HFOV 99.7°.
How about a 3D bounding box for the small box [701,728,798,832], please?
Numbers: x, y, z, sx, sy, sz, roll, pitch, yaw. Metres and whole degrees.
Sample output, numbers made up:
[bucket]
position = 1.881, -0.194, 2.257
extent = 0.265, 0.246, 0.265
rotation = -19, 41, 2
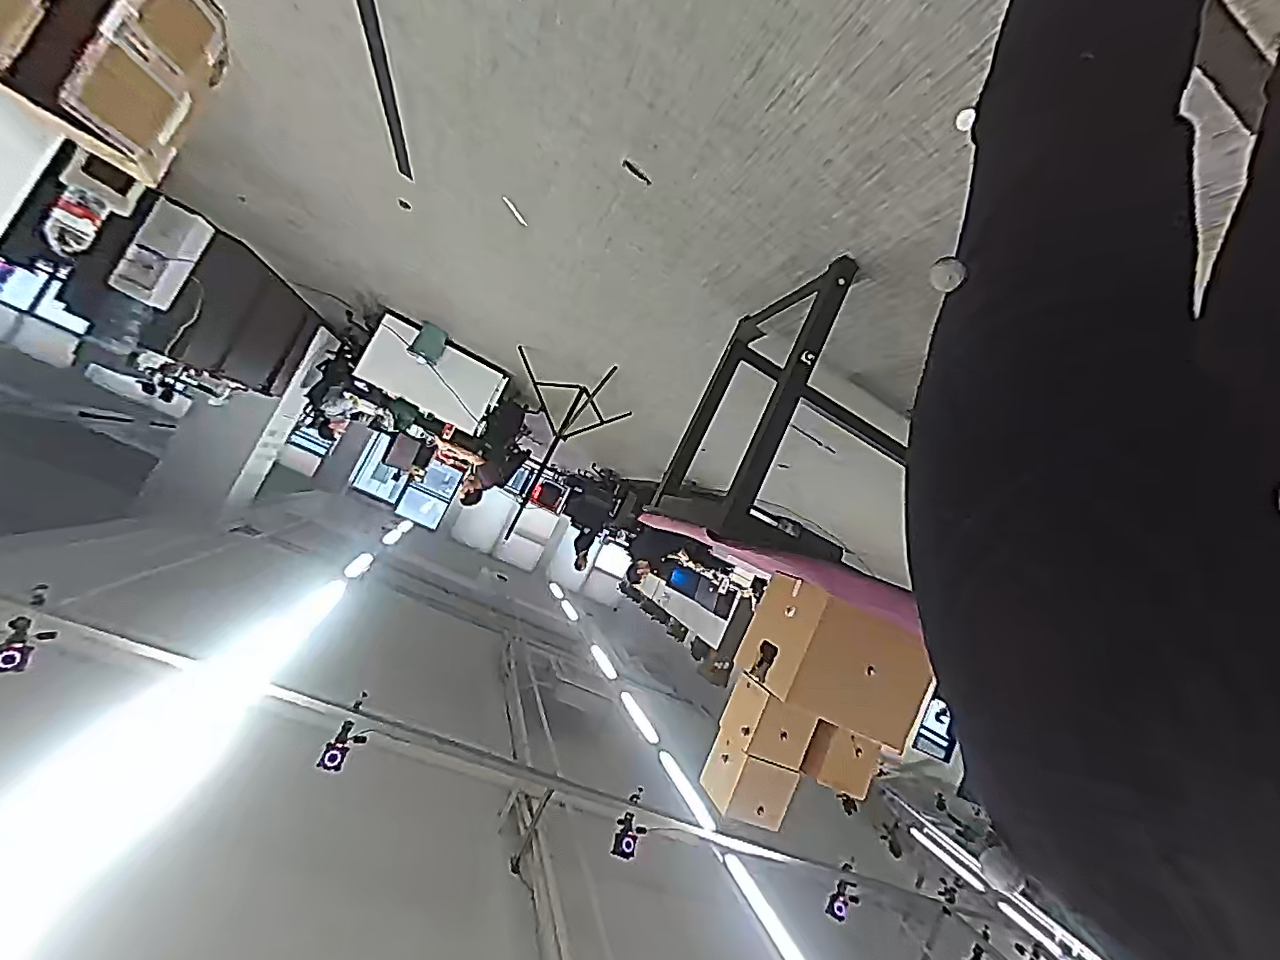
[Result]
[small box]
position = 0.301, 0.815, 1.484
extent = 0.179, 0.176, 0.168
rotation = 26, 174, -15
